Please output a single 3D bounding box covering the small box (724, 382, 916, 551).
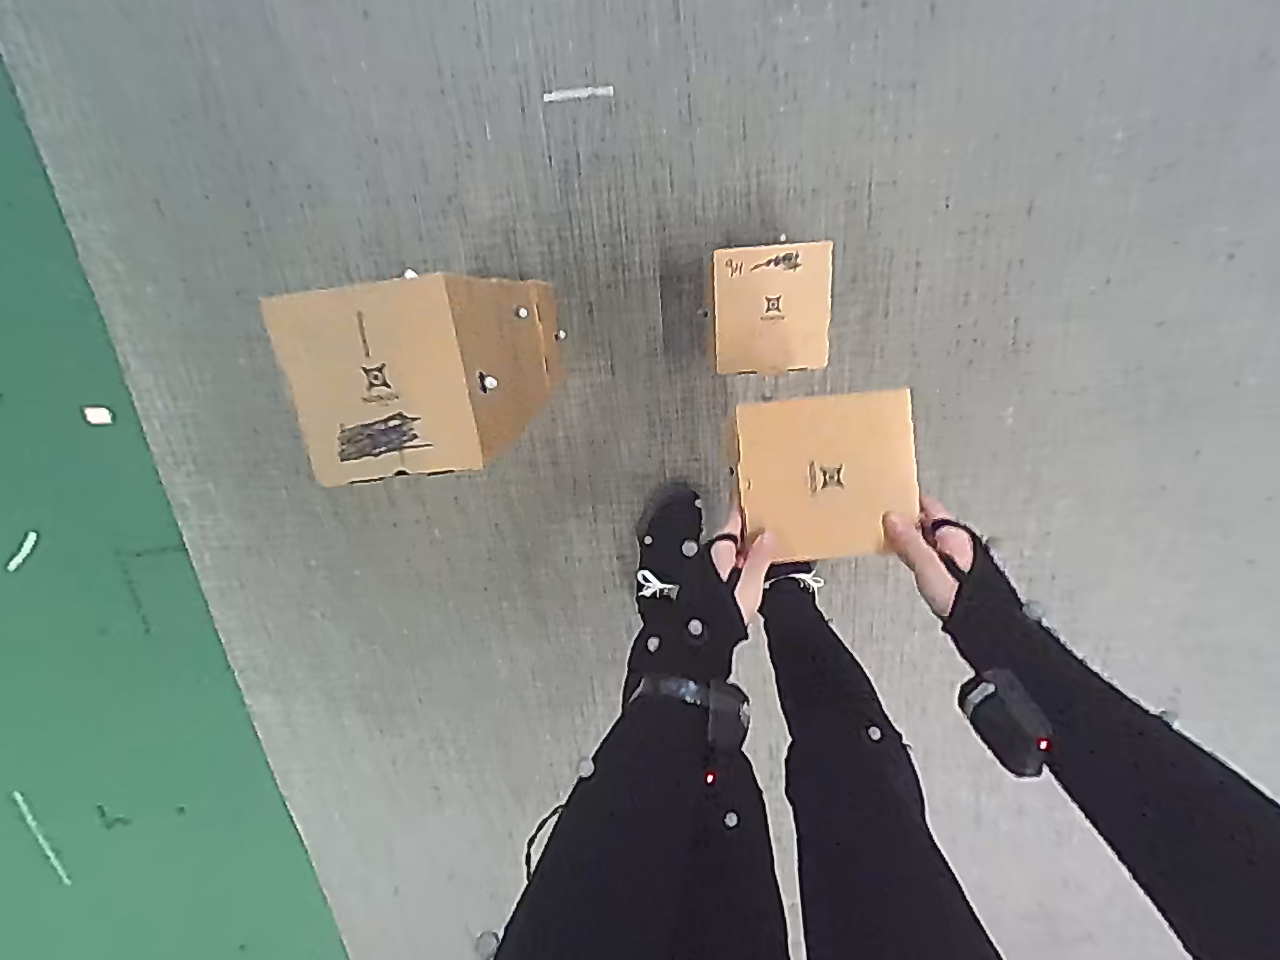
[{"bbox_3d":[0.197,-0.014,0.637,0.179,0.176,0.168,-6,90,7],"label":"small box"}]

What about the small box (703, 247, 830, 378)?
[{"bbox_3d":[0.191,-0.266,0.859,0.168,0.176,0.179,-4,108,2],"label":"small box"}]

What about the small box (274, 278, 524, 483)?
[{"bbox_3d":[-0.232,-0.110,0.574,0.168,0.176,0.179,-7,106,4],"label":"small box"}]

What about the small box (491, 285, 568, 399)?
[{"bbox_3d":[-0.224,-0.221,0.884,0.179,0.176,0.168,-5,107,2],"label":"small box"}]
